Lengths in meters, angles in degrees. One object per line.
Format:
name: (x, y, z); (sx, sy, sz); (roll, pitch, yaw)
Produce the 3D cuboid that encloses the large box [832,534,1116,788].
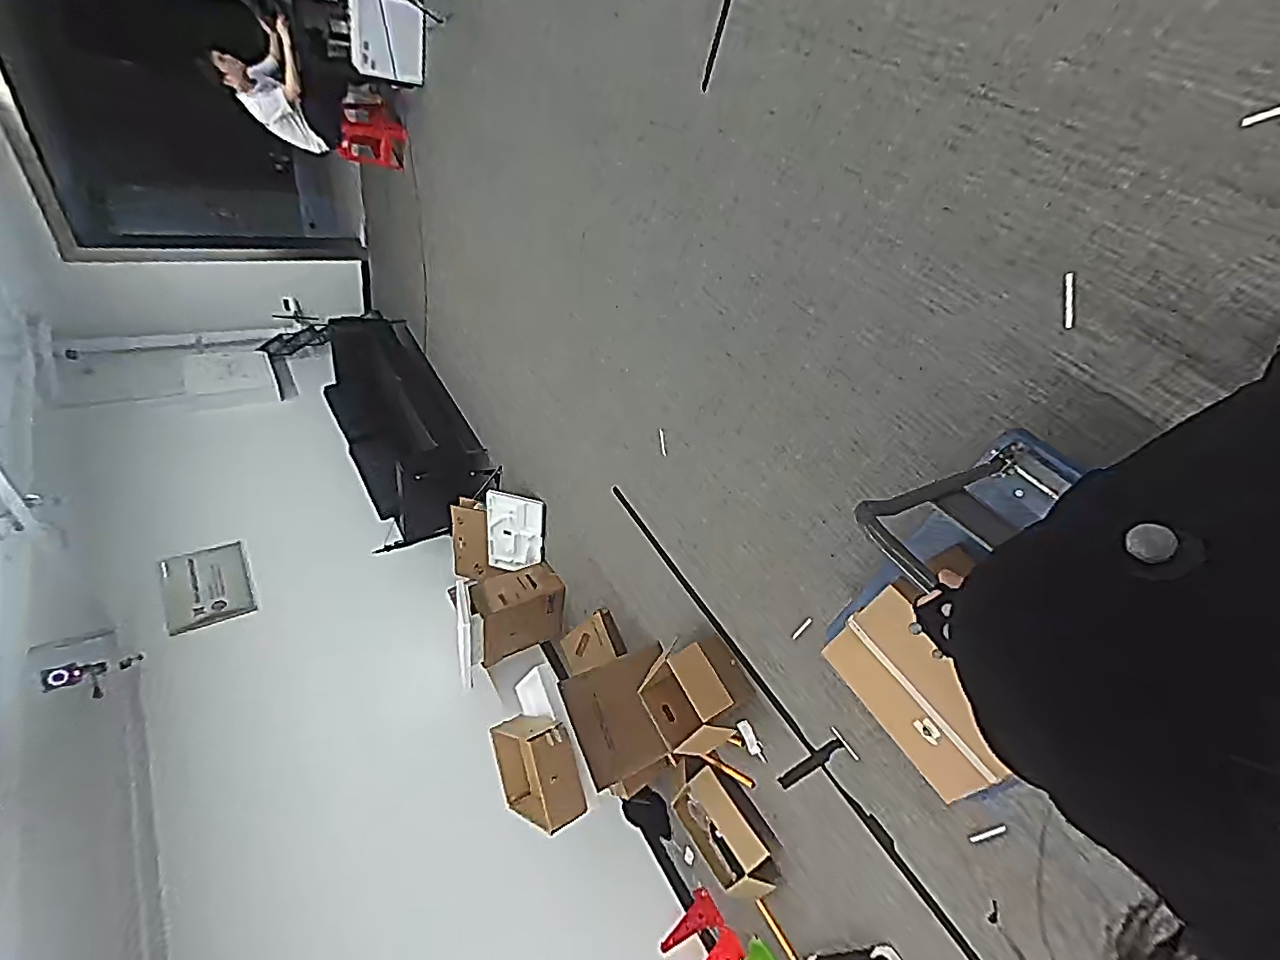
large box: (0.751, 0.399, 1.259); (0.408, 0.320, 0.320); (51, 140, 29)
